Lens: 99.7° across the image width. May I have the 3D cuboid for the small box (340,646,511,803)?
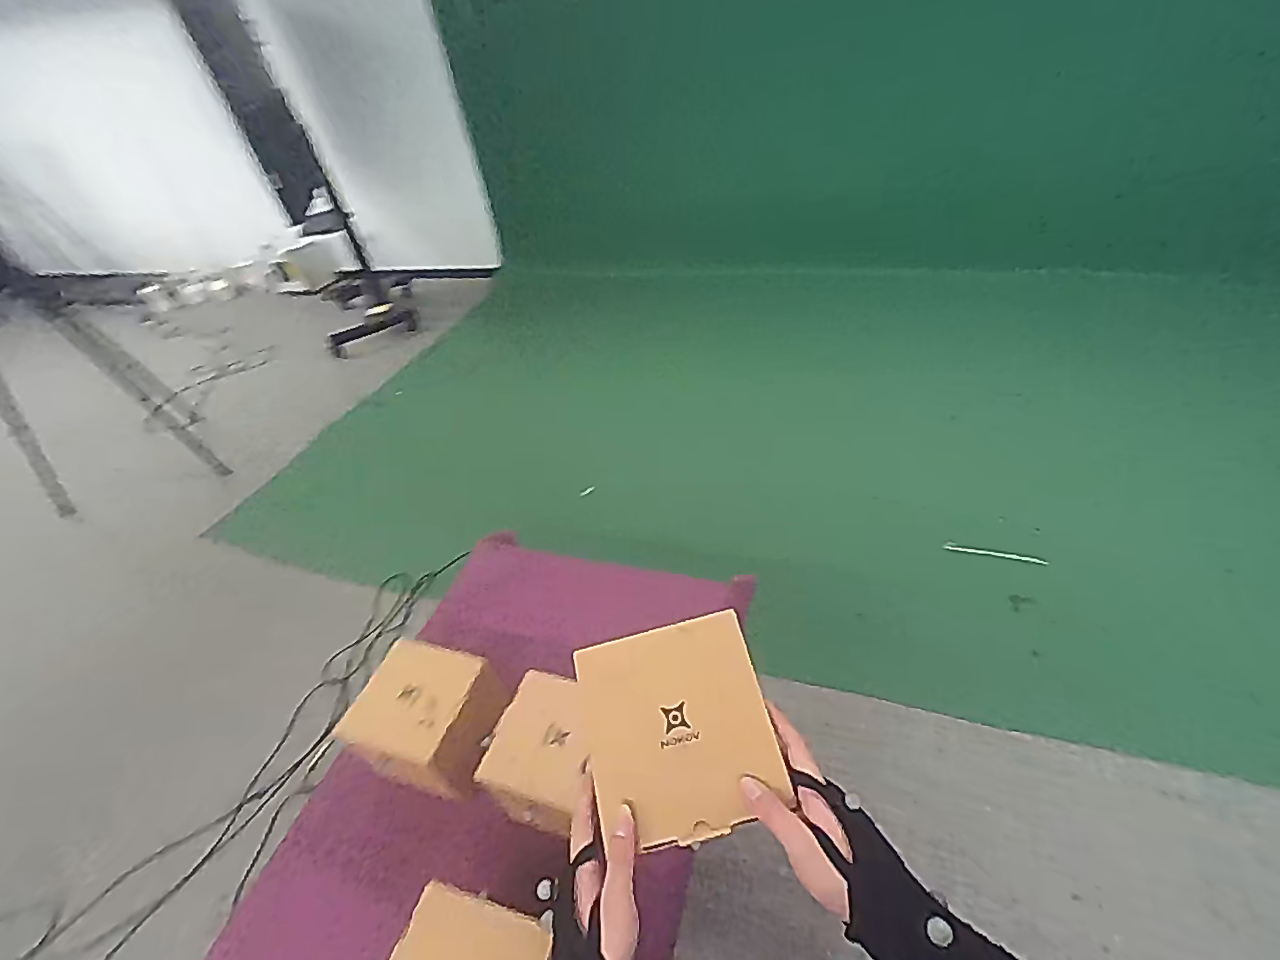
[{"bbox_3d":[-0.341,0.407,0.899,0.179,0.176,0.168,7,45,19],"label":"small box"}]

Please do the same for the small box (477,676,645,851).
[{"bbox_3d":[-0.107,0.430,0.820,0.179,0.176,0.168,6,45,20],"label":"small box"}]

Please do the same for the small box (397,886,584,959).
[{"bbox_3d":[-0.185,0.617,0.632,0.179,0.176,0.168,6,45,18],"label":"small box"}]
